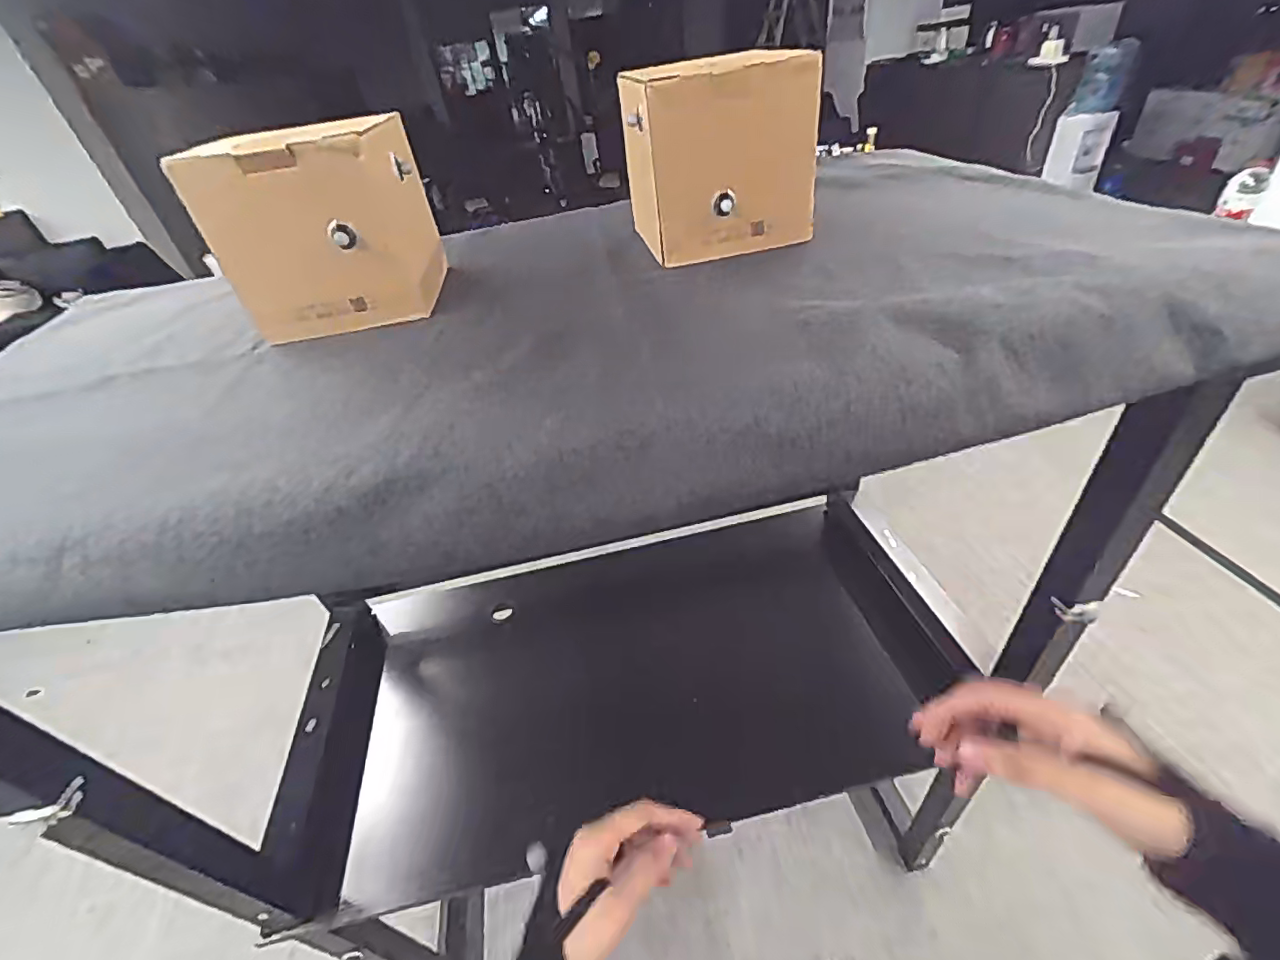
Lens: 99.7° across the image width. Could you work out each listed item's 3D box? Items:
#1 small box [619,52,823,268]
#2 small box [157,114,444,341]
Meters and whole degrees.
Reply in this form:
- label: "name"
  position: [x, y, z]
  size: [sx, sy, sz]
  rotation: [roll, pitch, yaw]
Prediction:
- label: "small box"
  position: [0.079, -0.349, 0.591]
  size: [0.168, 0.176, 0.179]
  rotation: [-13, 40, -4]
- label: "small box"
  position: [-0.315, -0.254, 0.554]
  size: [0.168, 0.176, 0.179]
  rotation: [-11, 40, -3]
